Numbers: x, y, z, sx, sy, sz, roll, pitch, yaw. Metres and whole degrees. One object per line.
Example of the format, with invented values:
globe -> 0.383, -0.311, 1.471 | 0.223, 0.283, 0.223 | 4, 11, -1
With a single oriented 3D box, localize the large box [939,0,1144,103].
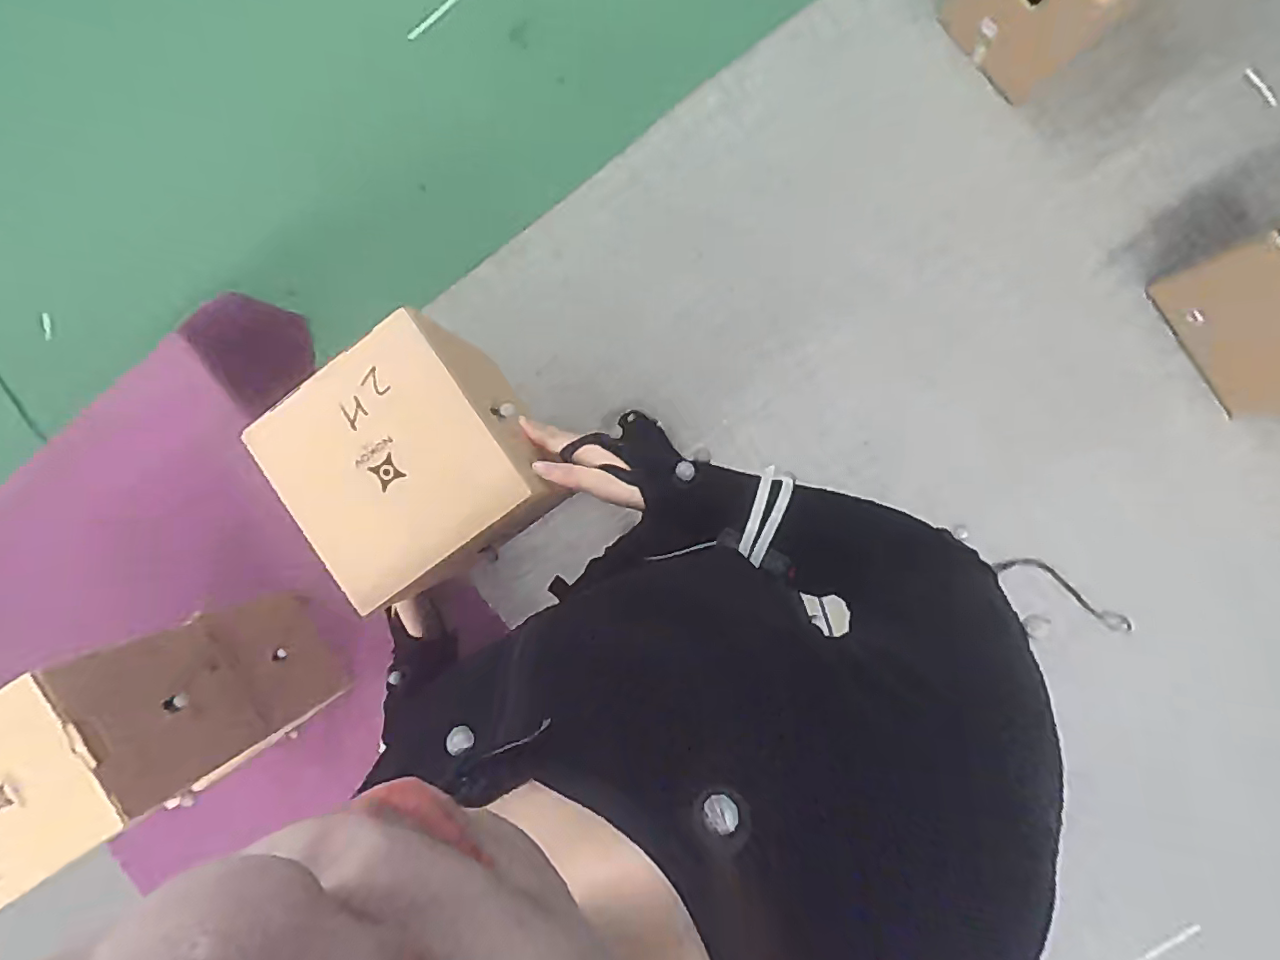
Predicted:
large box -> 1.011, -1.210, 1.252 | 0.408, 0.320, 0.320 | -37, 87, 3

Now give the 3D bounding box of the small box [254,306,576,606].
small box -> -0.179, -0.019, 0.489 | 0.168, 0.176, 0.179 | -34, 87, 5

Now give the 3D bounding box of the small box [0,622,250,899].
small box -> -0.563, 0.276, 0.571 | 0.179, 0.176, 0.168 | -33, 88, 4
